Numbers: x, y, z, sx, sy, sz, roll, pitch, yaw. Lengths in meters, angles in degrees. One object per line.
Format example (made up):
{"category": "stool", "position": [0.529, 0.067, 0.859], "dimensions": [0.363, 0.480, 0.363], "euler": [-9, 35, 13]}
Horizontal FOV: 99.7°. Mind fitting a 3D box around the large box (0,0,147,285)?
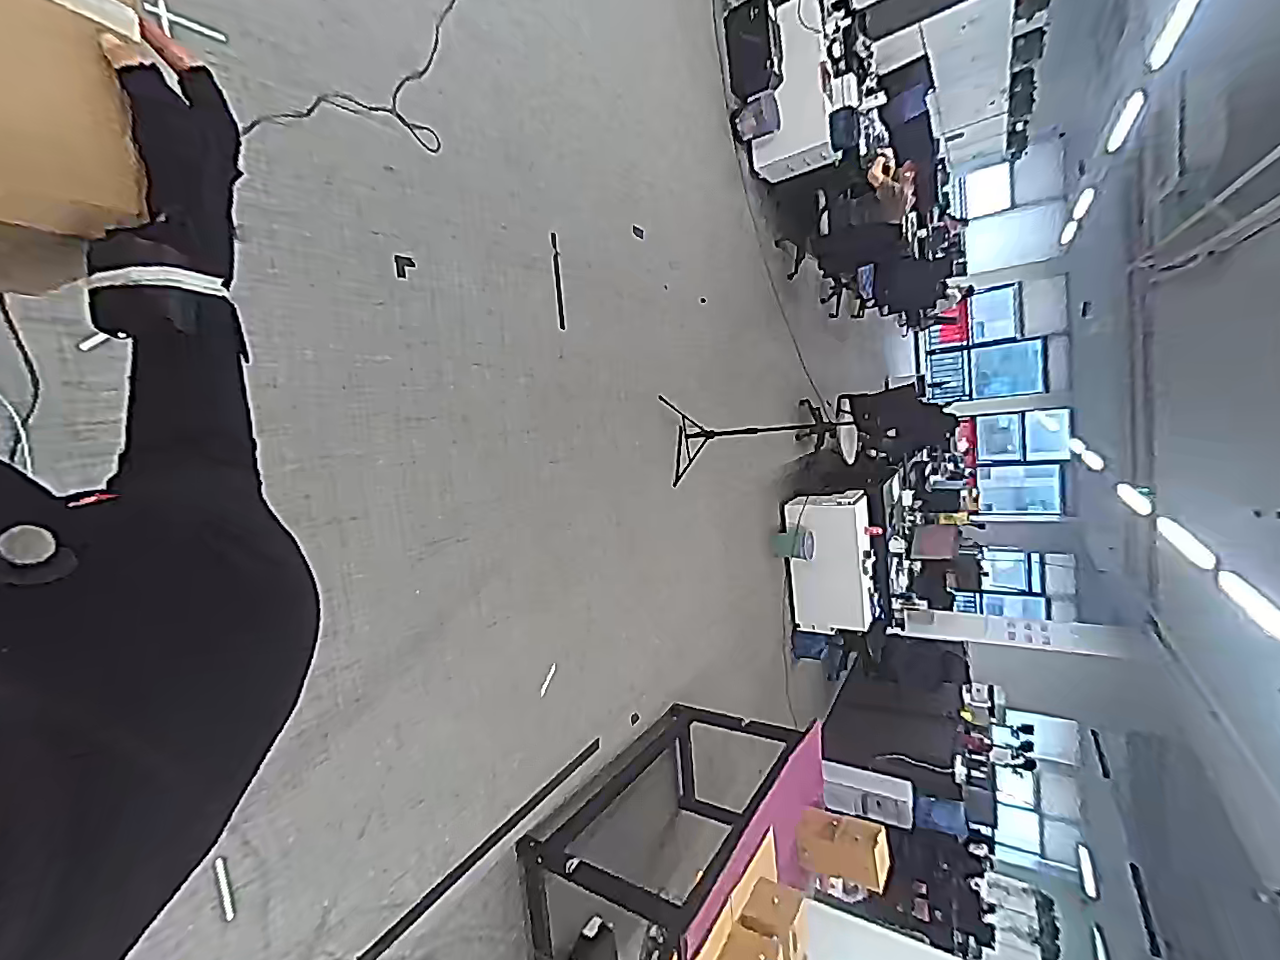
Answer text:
{"category": "large box", "position": [-0.607, -0.326, 0.306], "dimensions": [0.408, 0.320, 0.320], "euler": [-8, 102, -59]}
